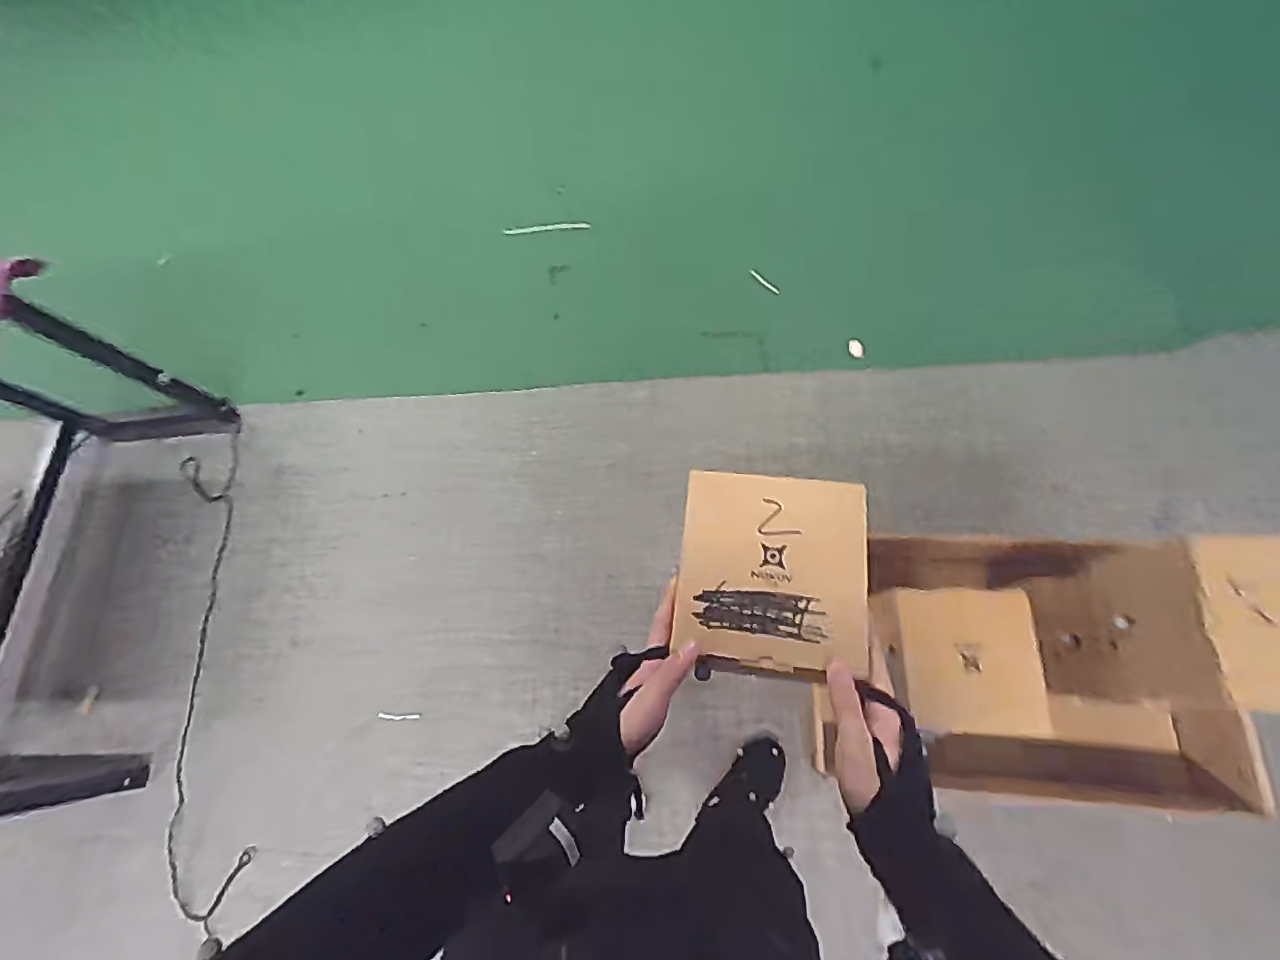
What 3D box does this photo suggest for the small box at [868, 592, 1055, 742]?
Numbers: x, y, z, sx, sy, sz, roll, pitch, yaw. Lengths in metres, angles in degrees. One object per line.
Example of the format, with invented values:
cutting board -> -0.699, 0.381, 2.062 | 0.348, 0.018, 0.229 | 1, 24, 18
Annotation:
small box -> 0.430, 0.255, 0.756 | 0.168, 0.176, 0.179 | -1, 71, 8

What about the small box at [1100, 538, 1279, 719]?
small box -> 0.649, 0.164, 0.575 | 0.179, 0.176, 0.168 | 2, 71, 11

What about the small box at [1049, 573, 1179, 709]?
small box -> 0.693, 0.214, 0.727 | 0.179, 0.176, 0.168 | -5, 71, 9
